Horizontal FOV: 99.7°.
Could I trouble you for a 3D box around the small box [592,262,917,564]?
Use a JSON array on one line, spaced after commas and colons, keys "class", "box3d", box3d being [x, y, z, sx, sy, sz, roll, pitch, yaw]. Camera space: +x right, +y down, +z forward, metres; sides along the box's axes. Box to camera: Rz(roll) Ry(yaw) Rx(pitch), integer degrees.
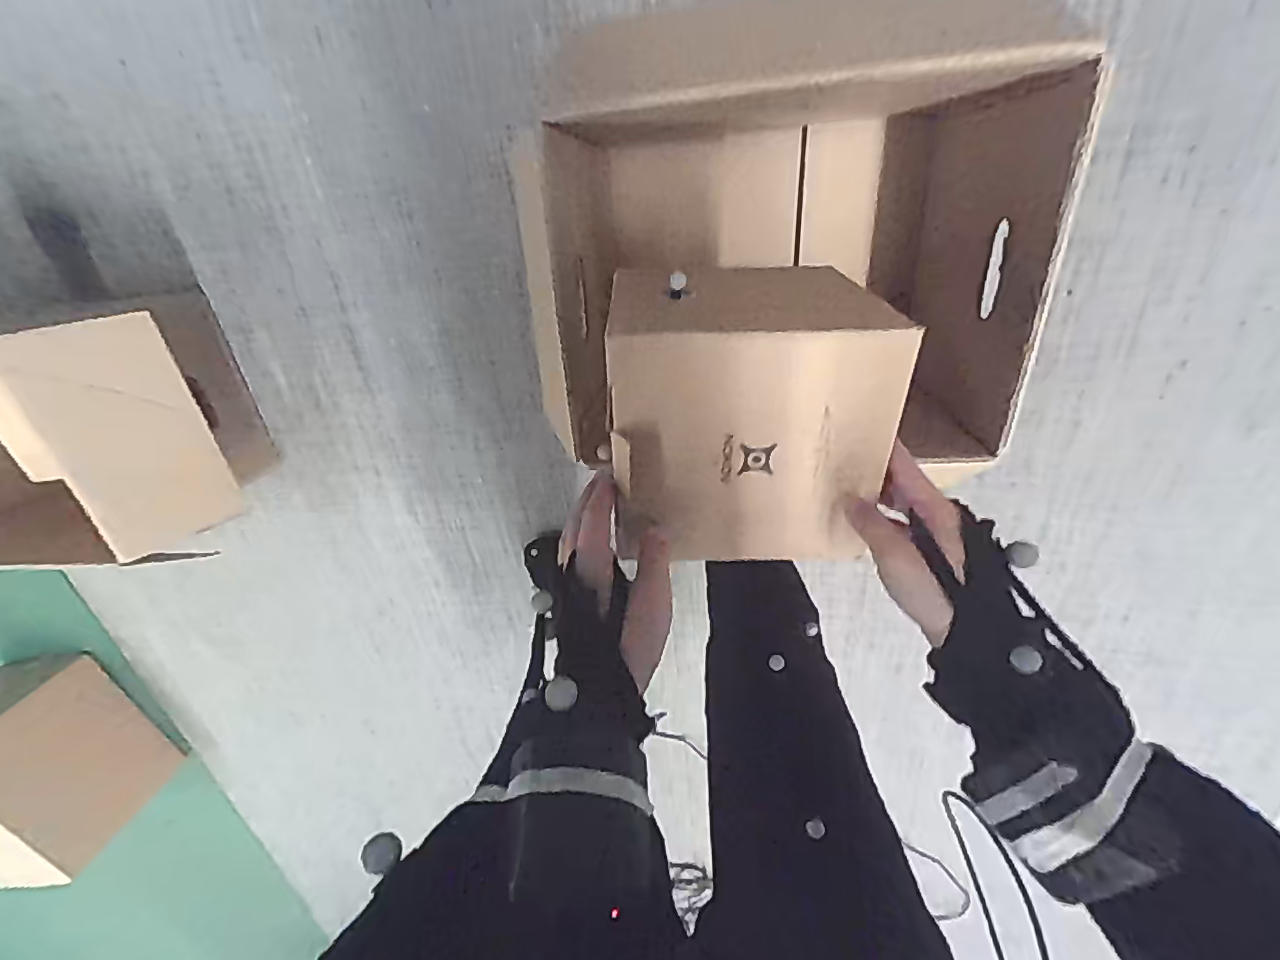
[{"class": "small box", "box3d": [0.062, -0.056, 0.397, 0.179, 0.176, 0.168, -1, 123, 0]}]
